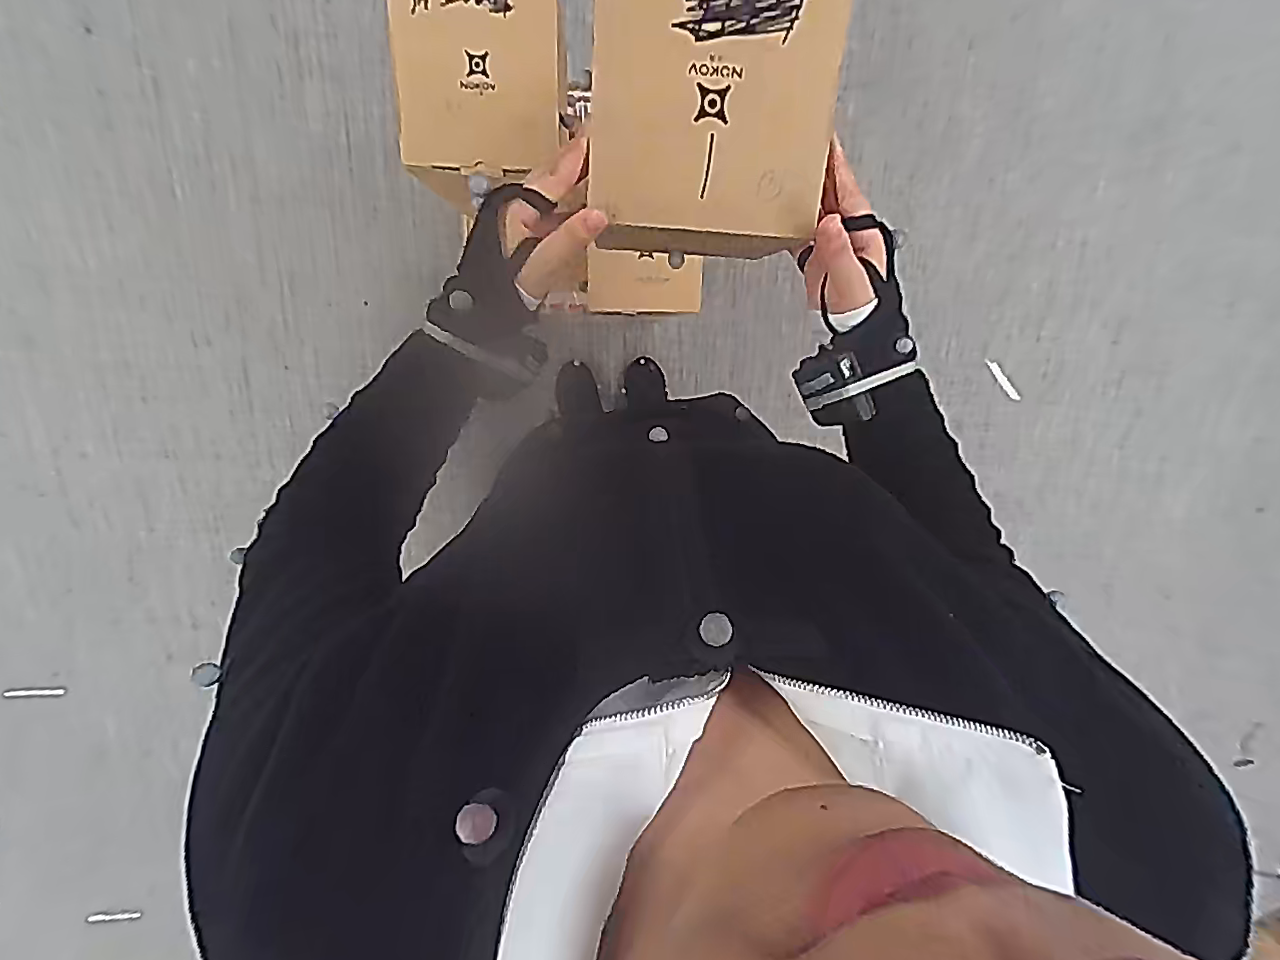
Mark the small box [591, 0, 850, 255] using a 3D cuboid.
[{"bbox_3d":[0.048,-0.288,0.436,0.168,0.176,0.179,3,108,-2],"label":"small box"}]

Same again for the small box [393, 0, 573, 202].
[{"bbox_3d":[-0.166,-0.434,0.629,0.168,0.176,0.179,0,107,-4],"label":"small box"}]

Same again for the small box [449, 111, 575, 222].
[{"bbox_3d":[-0.183,-0.487,0.785,0.168,0.176,0.179,-1,106,-3],"label":"small box"}]
